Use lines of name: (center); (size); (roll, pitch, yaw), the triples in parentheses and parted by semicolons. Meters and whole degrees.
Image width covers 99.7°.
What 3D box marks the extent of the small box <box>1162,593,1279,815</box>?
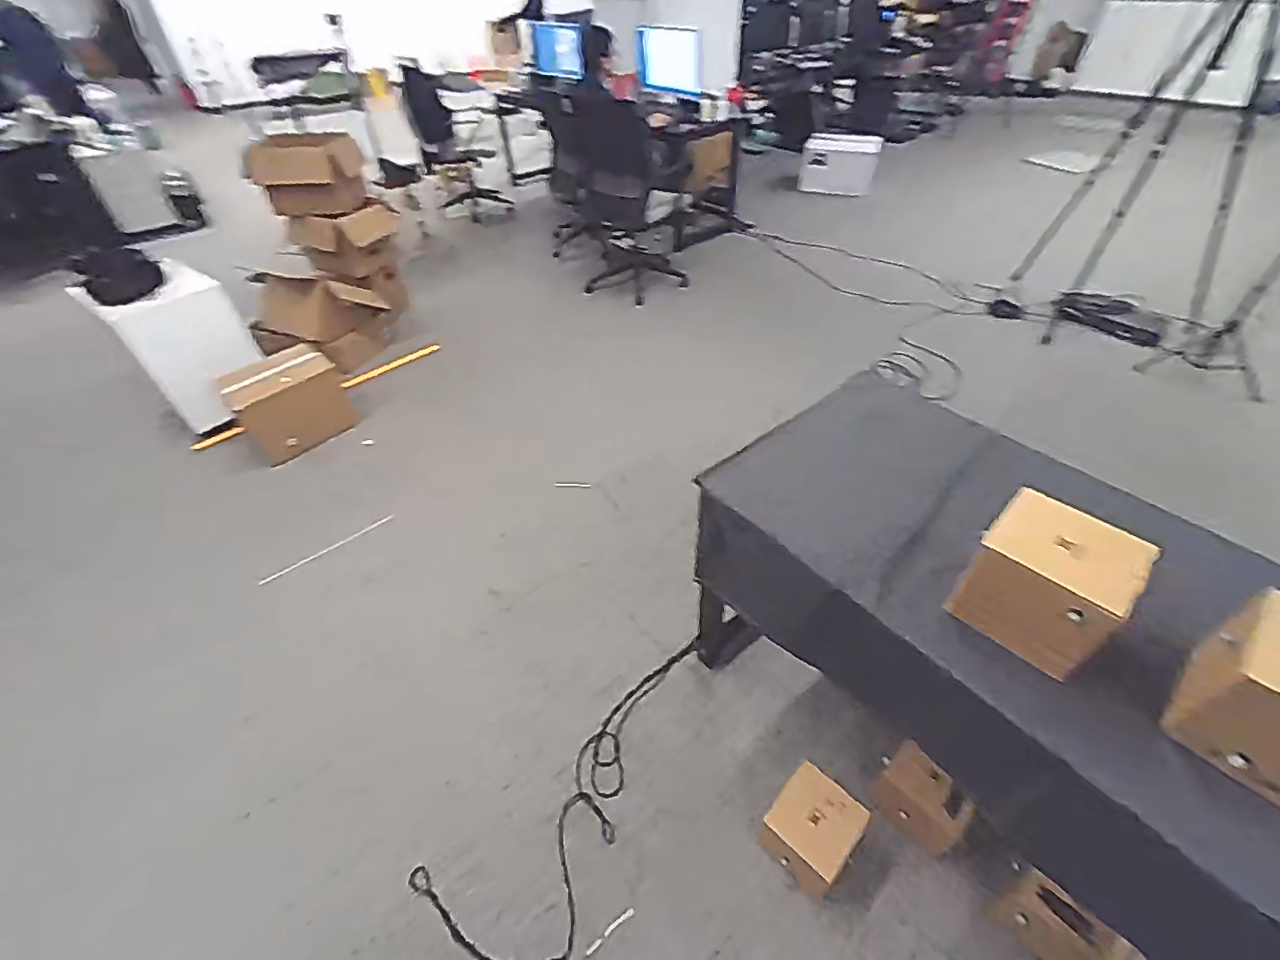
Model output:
small box: (0.806, 0.281, 0.665); (0.179, 0.176, 0.168); (-33, 50, -27)

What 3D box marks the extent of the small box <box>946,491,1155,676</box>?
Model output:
small box: (0.598, 0.154, 0.809); (0.168, 0.176, 0.179); (-34, 53, -29)

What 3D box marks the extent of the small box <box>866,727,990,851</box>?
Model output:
small box: (0.661, 0.724, 1.259); (0.168, 0.176, 0.179); (-32, 49, -27)
